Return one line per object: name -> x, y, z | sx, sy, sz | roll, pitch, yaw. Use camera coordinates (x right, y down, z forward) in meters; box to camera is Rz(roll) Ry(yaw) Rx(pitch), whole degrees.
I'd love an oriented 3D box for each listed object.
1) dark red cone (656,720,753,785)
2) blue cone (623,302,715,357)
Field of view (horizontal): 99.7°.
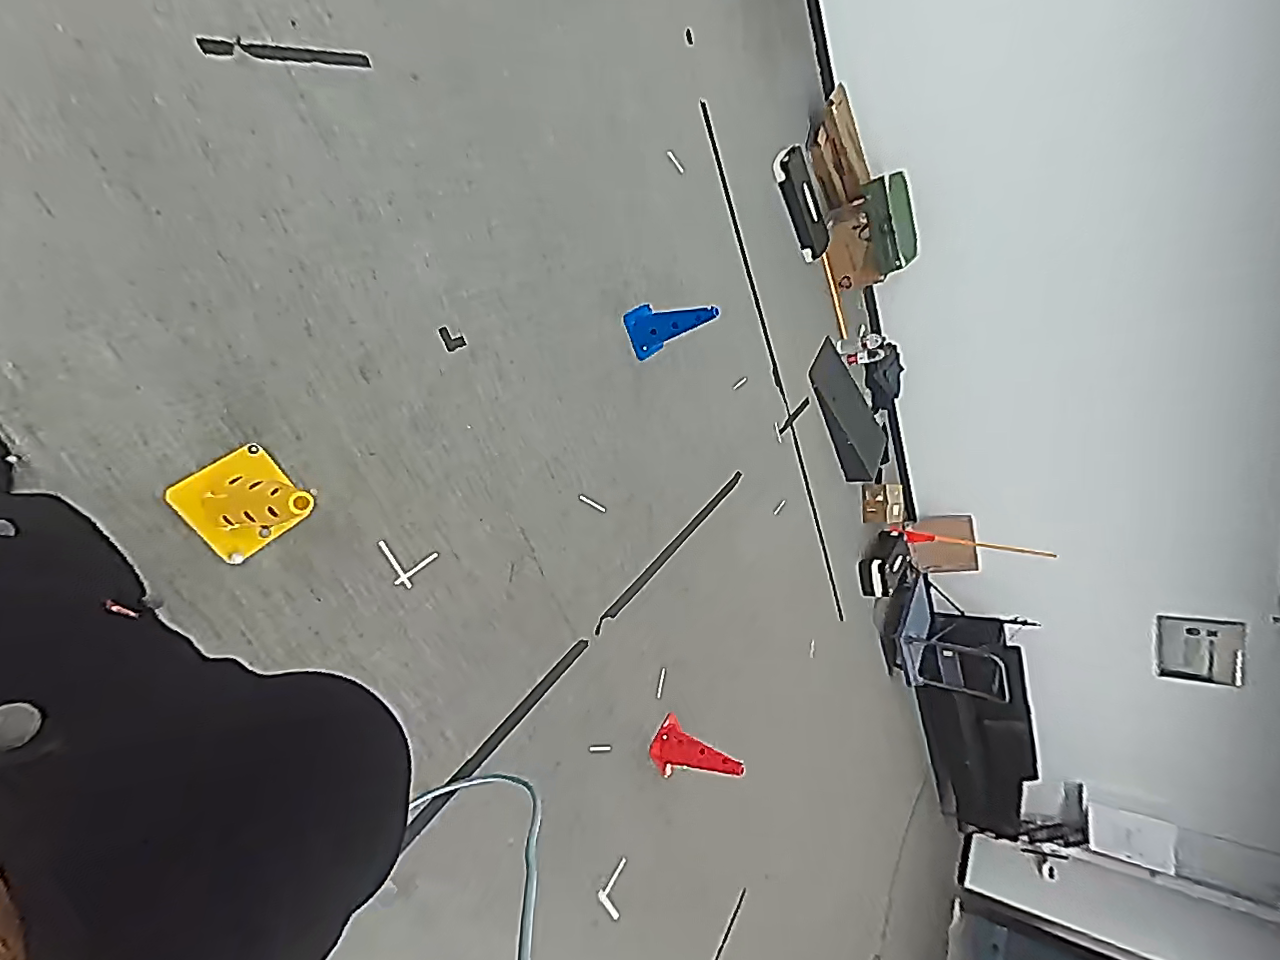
dark red cone -> 0.269, 1.130, 2.154 | 0.202, 0.394, 0.201 | -50, 123, -39
blue cone -> 0.134, -0.626, 2.132 | 0.193, 0.380, 0.192 | -41, 117, -44
